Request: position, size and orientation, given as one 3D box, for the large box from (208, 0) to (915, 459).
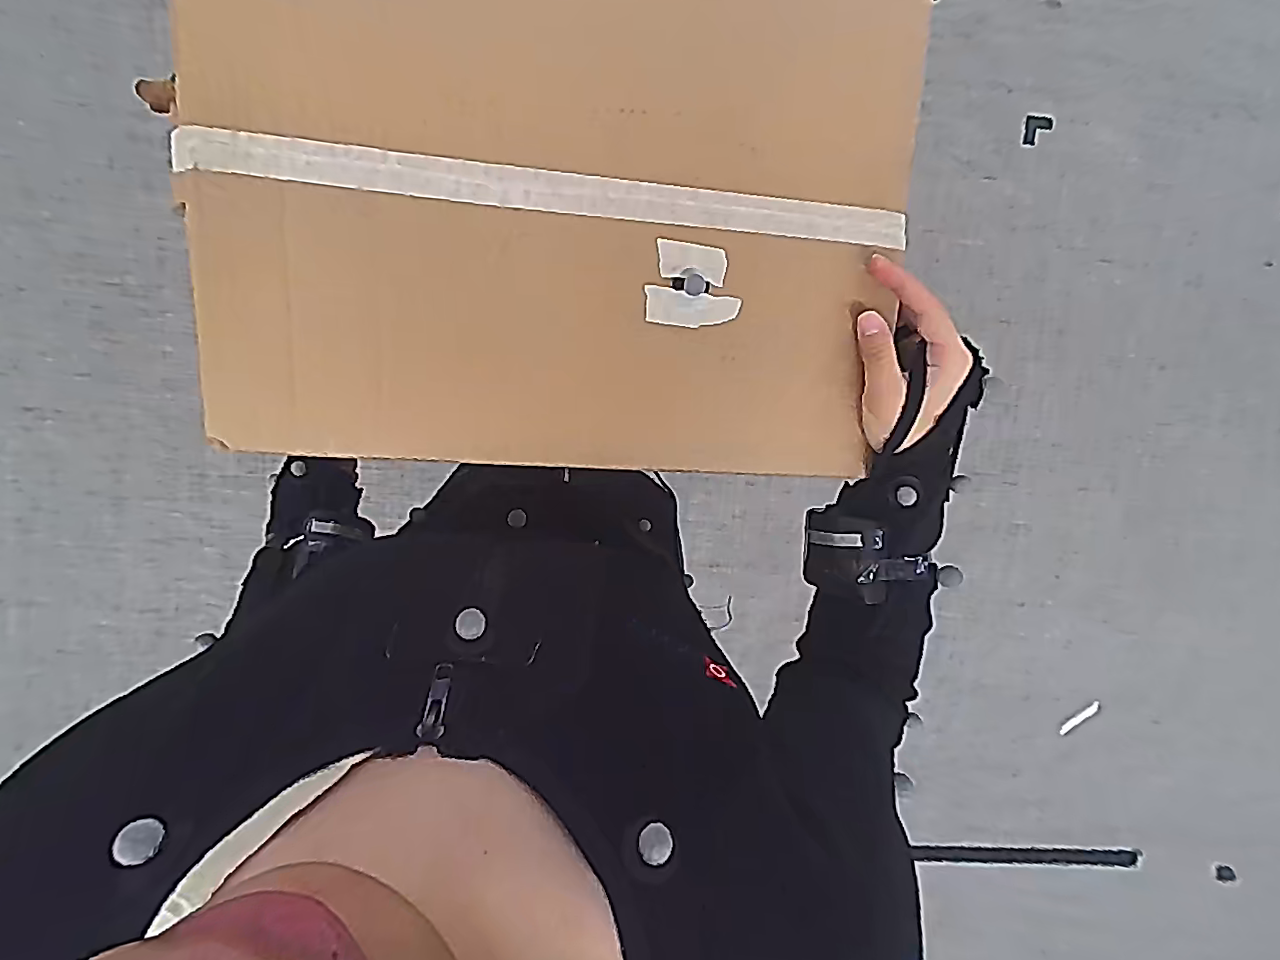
[{"bbox_3d":[-0.056,-0.192,0.467,0.408,0.320,0.320,2,100,-10],"label":"large box"}]
